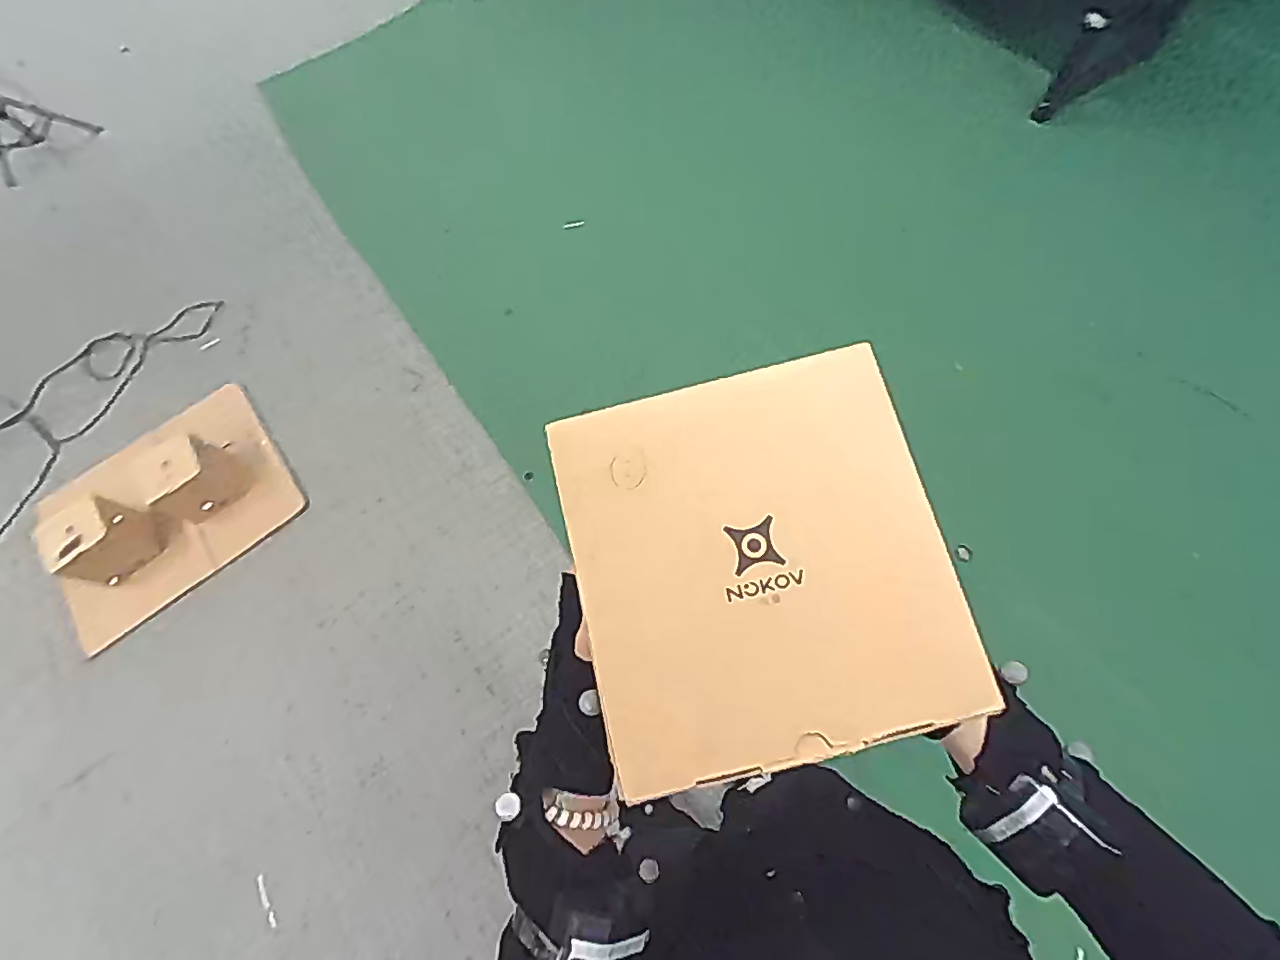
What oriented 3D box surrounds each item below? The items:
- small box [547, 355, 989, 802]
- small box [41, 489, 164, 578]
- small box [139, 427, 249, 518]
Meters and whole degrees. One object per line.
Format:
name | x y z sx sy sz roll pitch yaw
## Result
small box | 0.054 0.055 0.326 0.168 0.176 0.179 -15 77 0
small box | -1.517 0.161 1.538 0.168 0.176 0.179 -39 68 -10
small box | -1.309 -0.017 1.595 0.168 0.176 0.179 -34 69 -7
